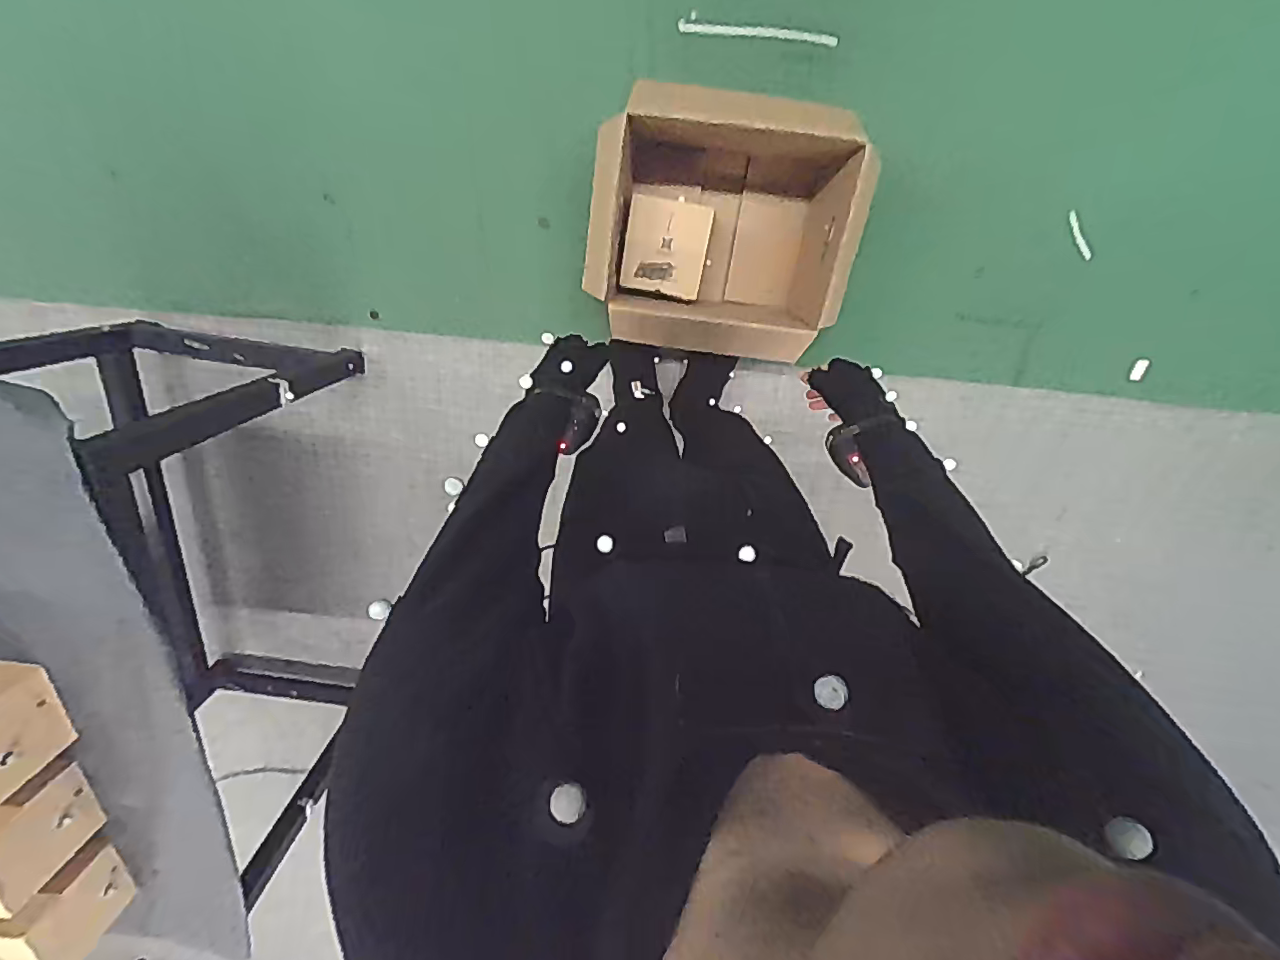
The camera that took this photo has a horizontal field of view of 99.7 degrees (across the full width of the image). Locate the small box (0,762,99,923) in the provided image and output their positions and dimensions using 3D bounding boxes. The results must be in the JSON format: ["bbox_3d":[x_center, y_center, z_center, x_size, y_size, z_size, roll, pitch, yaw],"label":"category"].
[{"bbox_3d":[-1.095,0.597,0.910,0.179,0.176,0.168,4,114,1],"label":"small box"}]

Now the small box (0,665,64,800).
[{"bbox_3d":[-1.049,0.396,0.823,0.179,0.176,0.168,5,114,1],"label":"small box"}]
